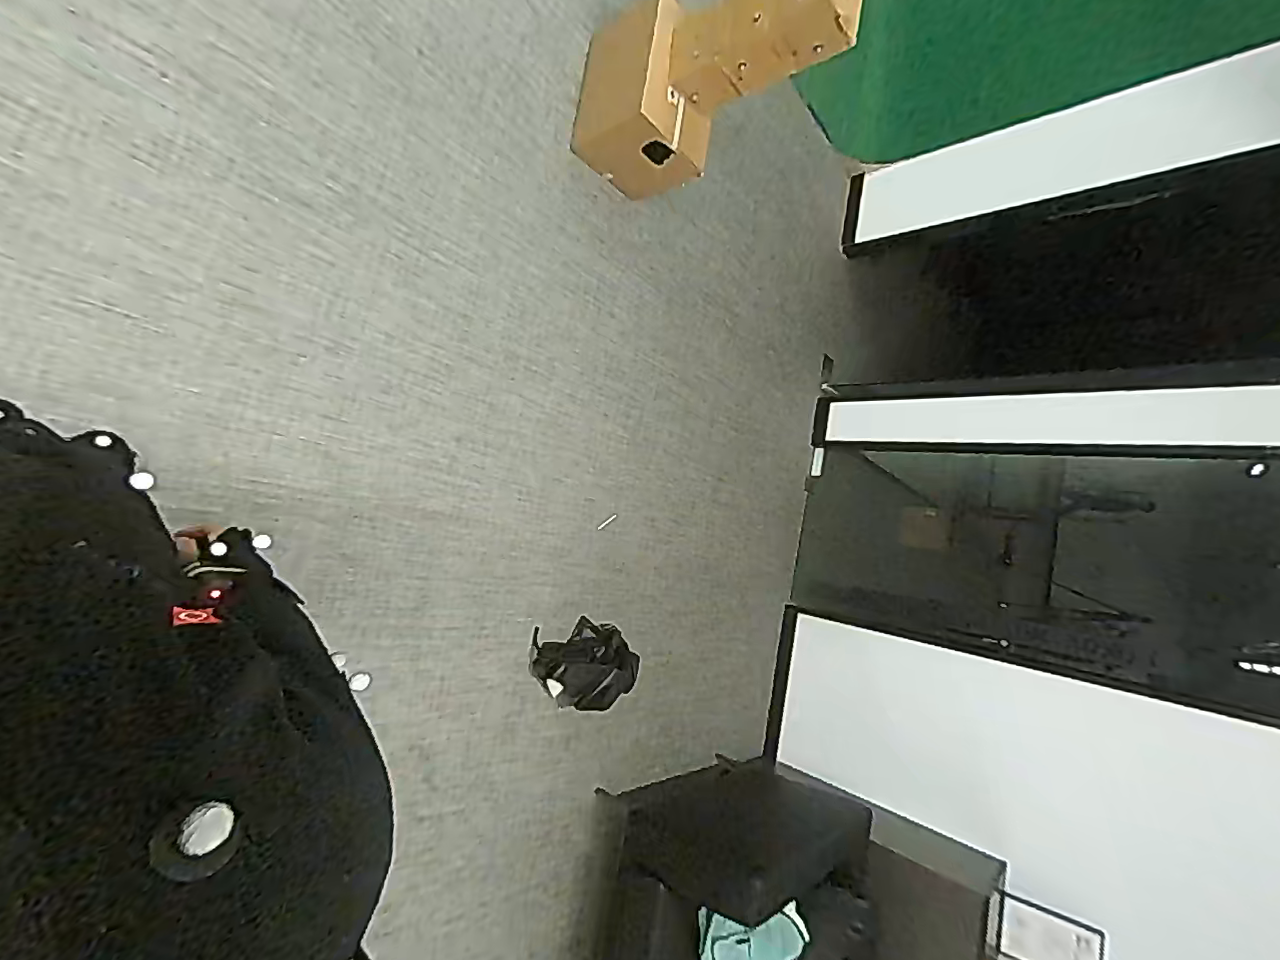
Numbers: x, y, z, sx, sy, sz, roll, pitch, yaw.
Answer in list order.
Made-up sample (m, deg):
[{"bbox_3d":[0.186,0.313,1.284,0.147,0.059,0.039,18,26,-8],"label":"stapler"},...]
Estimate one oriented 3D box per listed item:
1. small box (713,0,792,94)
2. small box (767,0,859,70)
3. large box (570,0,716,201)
[{"bbox_3d":[0.319,-1.221,1.486,0.168,0.176,0.179,13,86,-48],"label":"small box"},{"bbox_3d":[0.441,-1.208,1.380,0.168,0.176,0.179,13,85,-49],"label":"small box"},{"bbox_3d":[0.011,-1.209,1.755,0.320,0.320,0.408,14,85,-46],"label":"large box"}]
